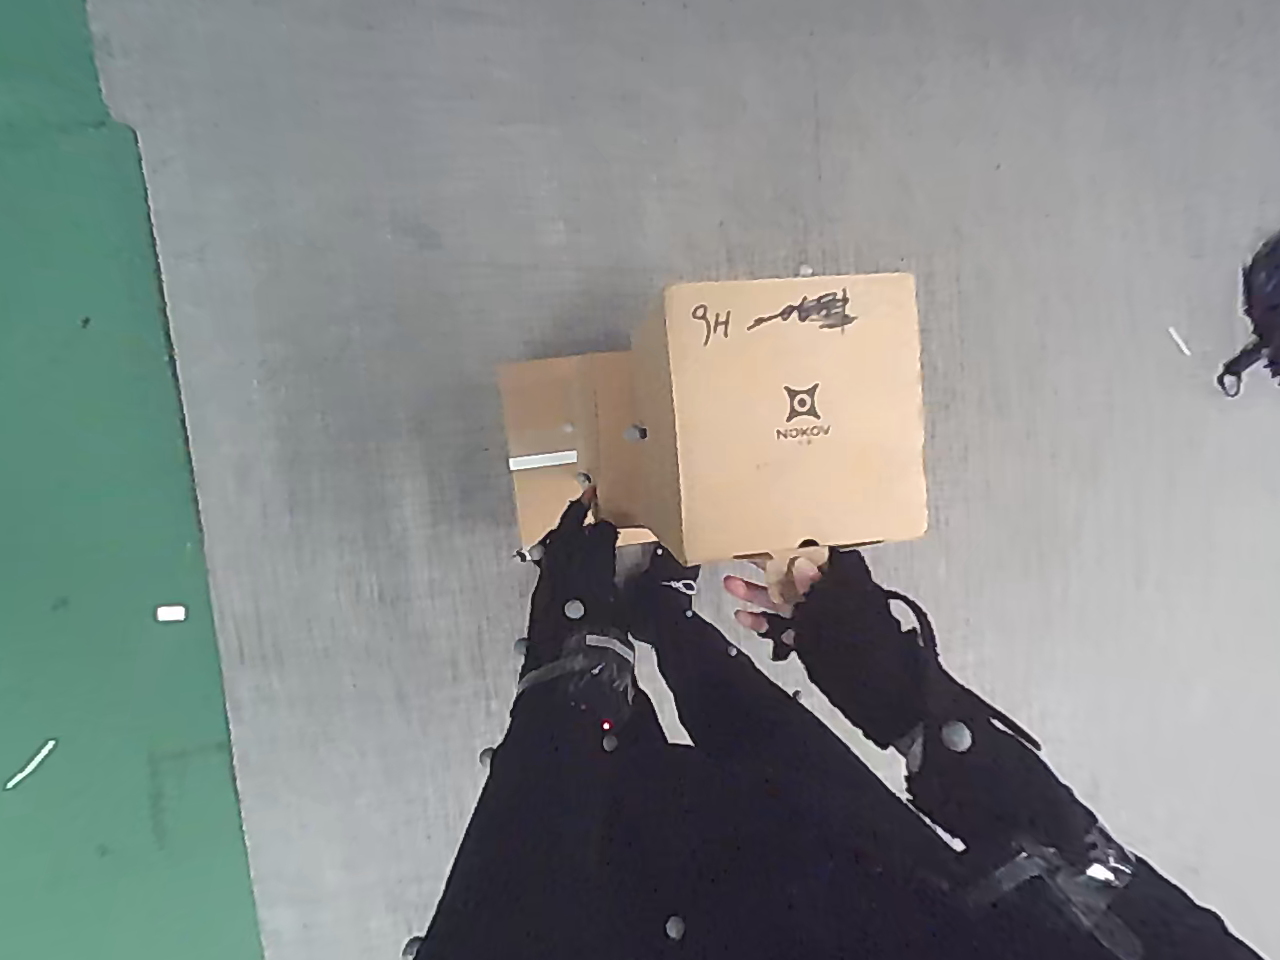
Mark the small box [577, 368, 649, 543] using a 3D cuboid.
[{"bbox_3d":[0.019,-0.039,0.624,0.168,0.176,0.179,-6,99,-10],"label":"small box"}]

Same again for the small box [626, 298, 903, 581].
[{"bbox_3d":[0.083,-0.033,0.432,0.168,0.176,0.179,-6,95,-7],"label":"small box"}]
